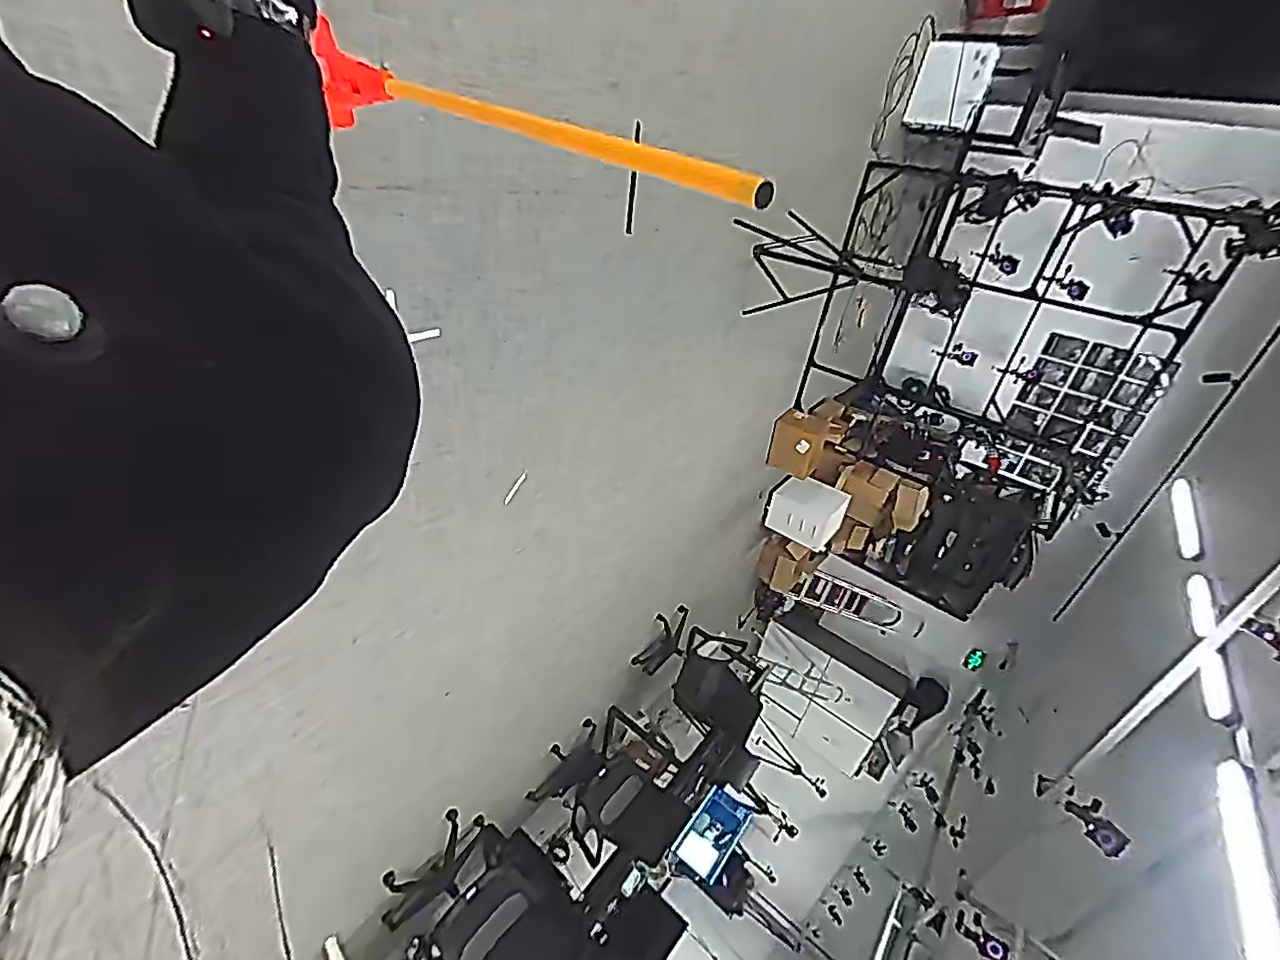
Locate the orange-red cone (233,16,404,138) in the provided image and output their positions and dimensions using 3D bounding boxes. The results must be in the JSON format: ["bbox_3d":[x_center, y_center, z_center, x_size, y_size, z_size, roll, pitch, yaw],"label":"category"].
[{"bbox_3d":[-0.568,-0.749,1.032,0.199,0.360,0.198,-38,144,-39],"label":"orange-red cone"}]
